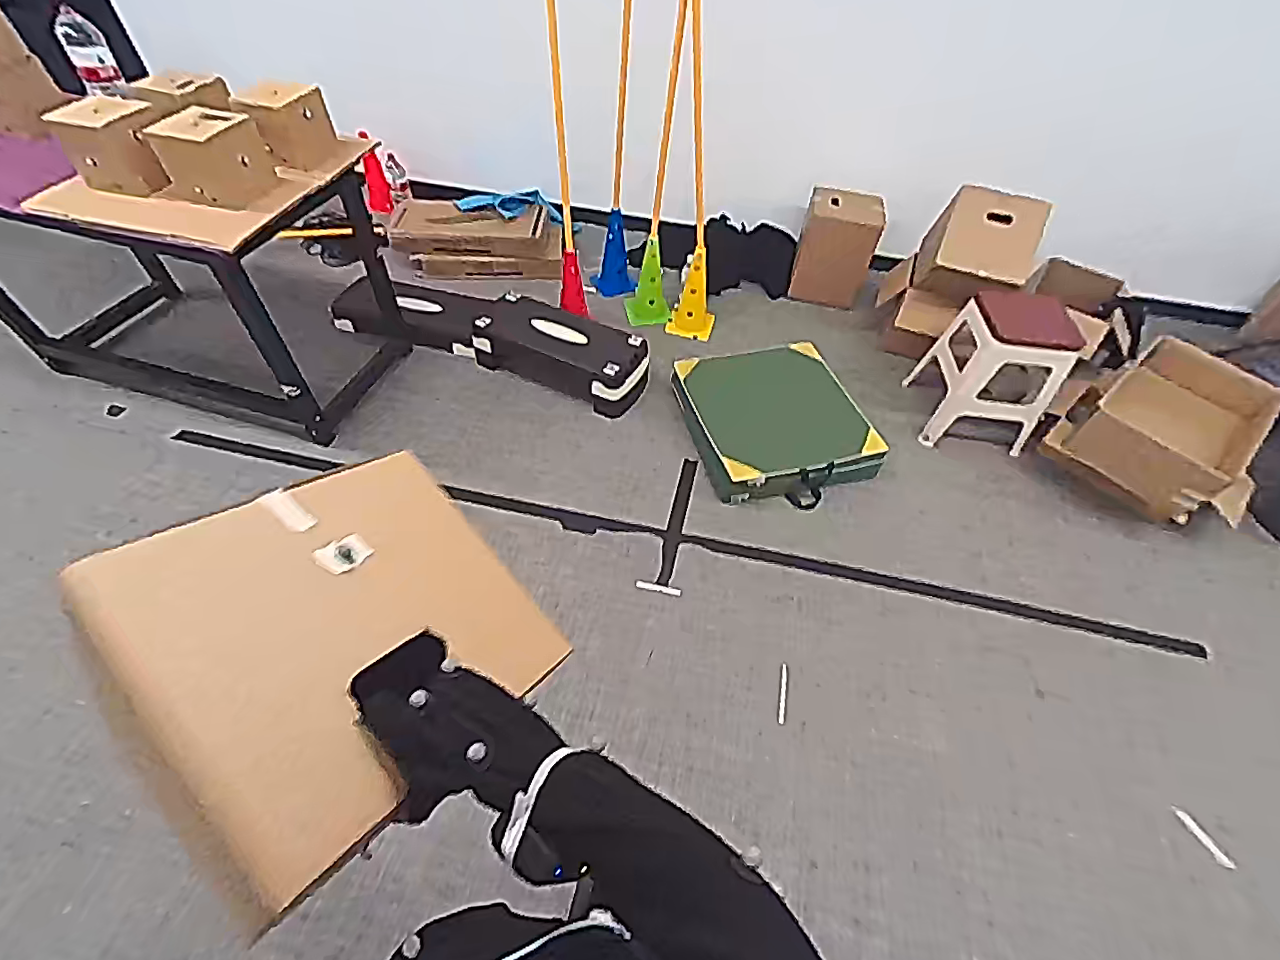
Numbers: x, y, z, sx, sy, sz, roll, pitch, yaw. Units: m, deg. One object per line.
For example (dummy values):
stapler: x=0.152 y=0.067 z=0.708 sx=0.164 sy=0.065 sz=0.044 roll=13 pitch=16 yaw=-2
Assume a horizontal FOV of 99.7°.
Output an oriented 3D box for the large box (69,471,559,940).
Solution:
large box: x=-0.369 y=0.258 z=0.641 sx=0.320 sy=0.408 sz=0.320 roll=48 pitch=39 yaw=9
